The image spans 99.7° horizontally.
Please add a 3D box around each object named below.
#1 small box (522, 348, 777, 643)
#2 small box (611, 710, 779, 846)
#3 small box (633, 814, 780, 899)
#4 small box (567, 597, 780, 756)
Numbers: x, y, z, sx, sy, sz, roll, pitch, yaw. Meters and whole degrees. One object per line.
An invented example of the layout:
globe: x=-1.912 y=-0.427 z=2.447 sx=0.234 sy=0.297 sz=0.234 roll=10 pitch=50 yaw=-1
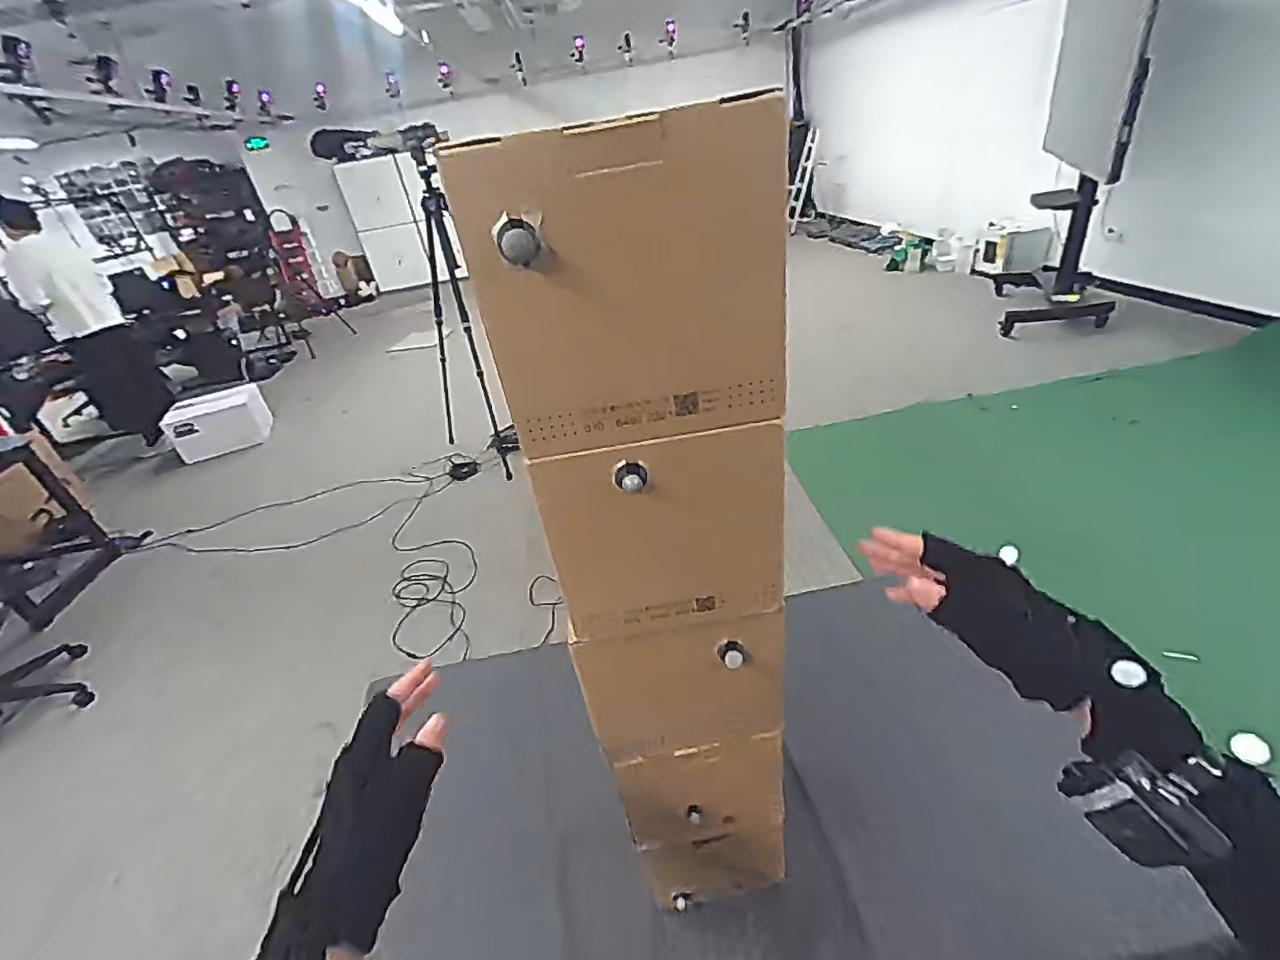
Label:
small box: x=0.011 y=0.006 z=0.454 sx=0.168 sy=0.176 sz=0.179 roll=-10 pitch=32 yaw=1
small box: x=0.055 y=0.280 z=0.629 sx=0.168 sy=0.176 sz=0.179 roll=-11 pitch=32 yaw=-1
small box: x=0.079 y=0.415 z=0.714 sx=0.168 sy=0.176 sz=0.179 roll=-12 pitch=31 yaw=-1
small box: x=0.031 y=0.144 z=0.540 sx=0.179 sy=0.176 sz=0.168 roll=-10 pitch=32 yaw=0
